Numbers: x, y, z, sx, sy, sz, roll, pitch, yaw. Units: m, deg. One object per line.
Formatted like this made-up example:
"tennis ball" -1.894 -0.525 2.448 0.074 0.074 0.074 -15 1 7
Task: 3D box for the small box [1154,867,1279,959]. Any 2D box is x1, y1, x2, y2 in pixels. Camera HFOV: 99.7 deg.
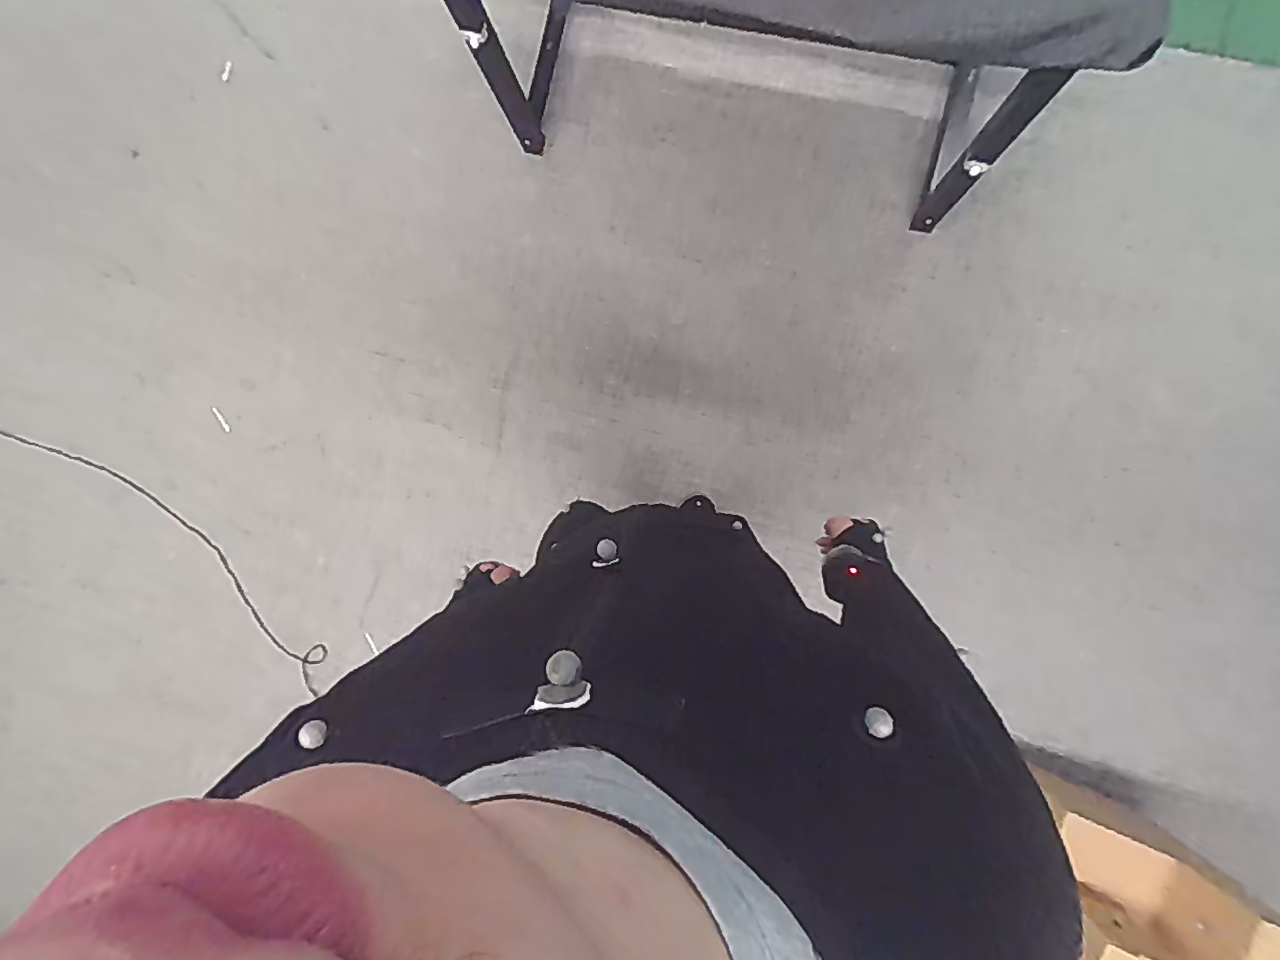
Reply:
"small box" 1.161 0.909 1.040 0.168 0.176 0.179 24 88 5

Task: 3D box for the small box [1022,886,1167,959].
"small box" 0.904 0.960 1.061 0.168 0.176 0.179 24 92 4
